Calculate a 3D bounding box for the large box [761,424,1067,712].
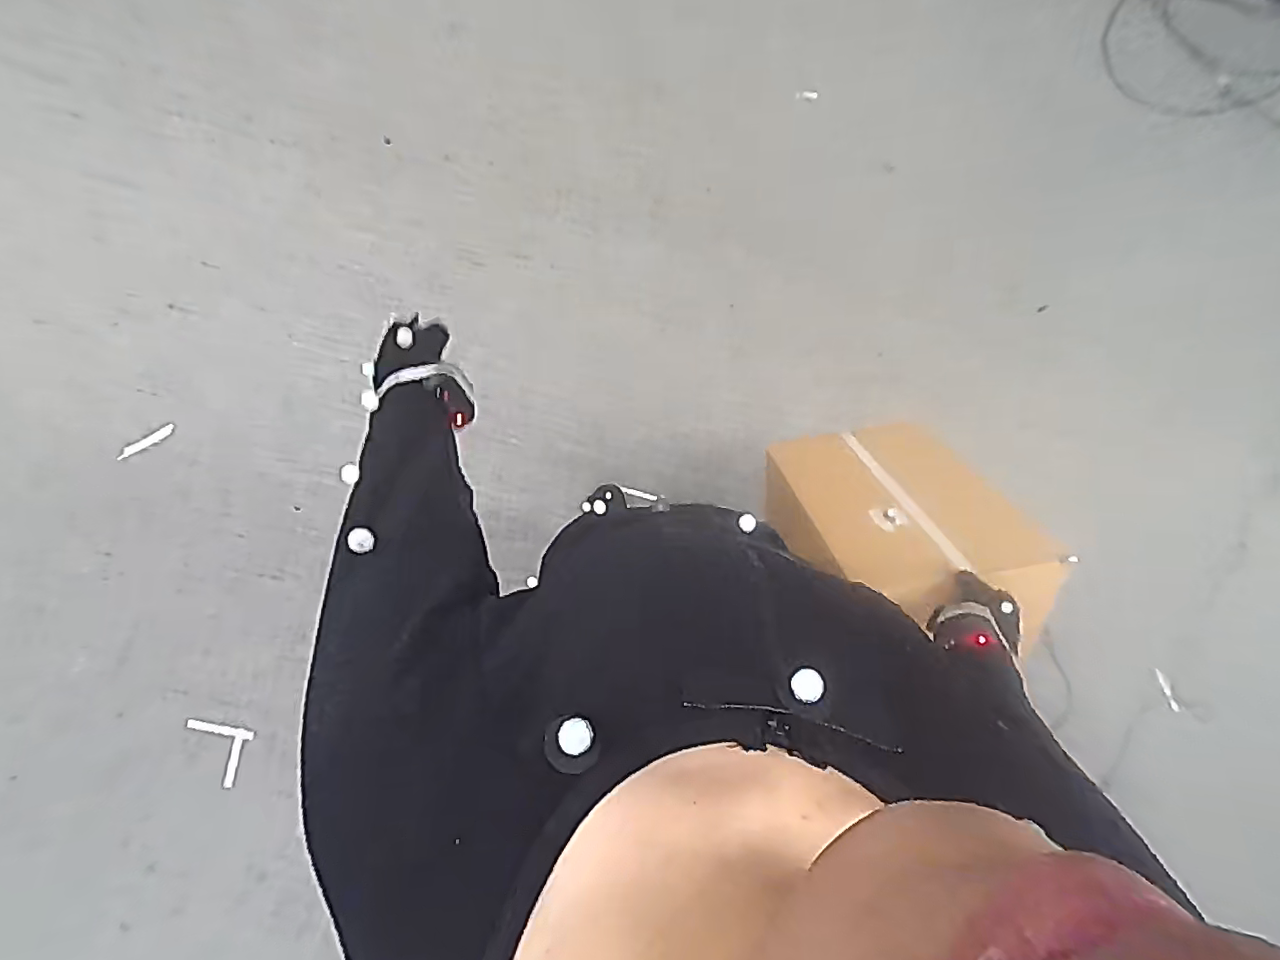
[{"bbox_3d":[0.439,0.142,0.998,0.320,0.408,0.320,-9,127,-3],"label":"large box"}]
